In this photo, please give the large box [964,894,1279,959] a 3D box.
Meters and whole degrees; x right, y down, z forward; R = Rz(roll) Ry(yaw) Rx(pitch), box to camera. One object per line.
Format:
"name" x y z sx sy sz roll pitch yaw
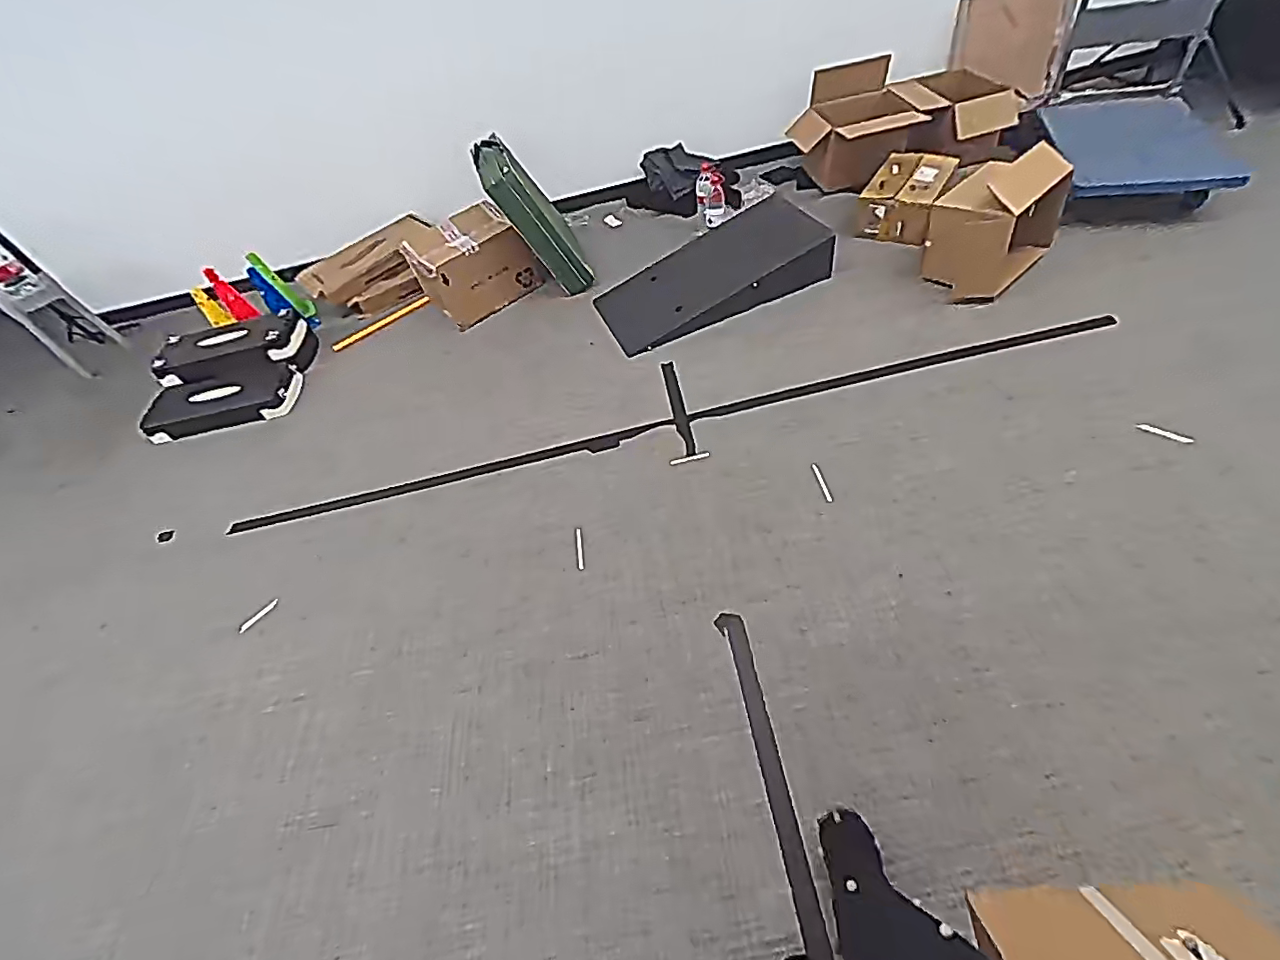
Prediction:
"large box" 0.606 0.711 0.549 0.320 0.408 0.320 -9 79 10
